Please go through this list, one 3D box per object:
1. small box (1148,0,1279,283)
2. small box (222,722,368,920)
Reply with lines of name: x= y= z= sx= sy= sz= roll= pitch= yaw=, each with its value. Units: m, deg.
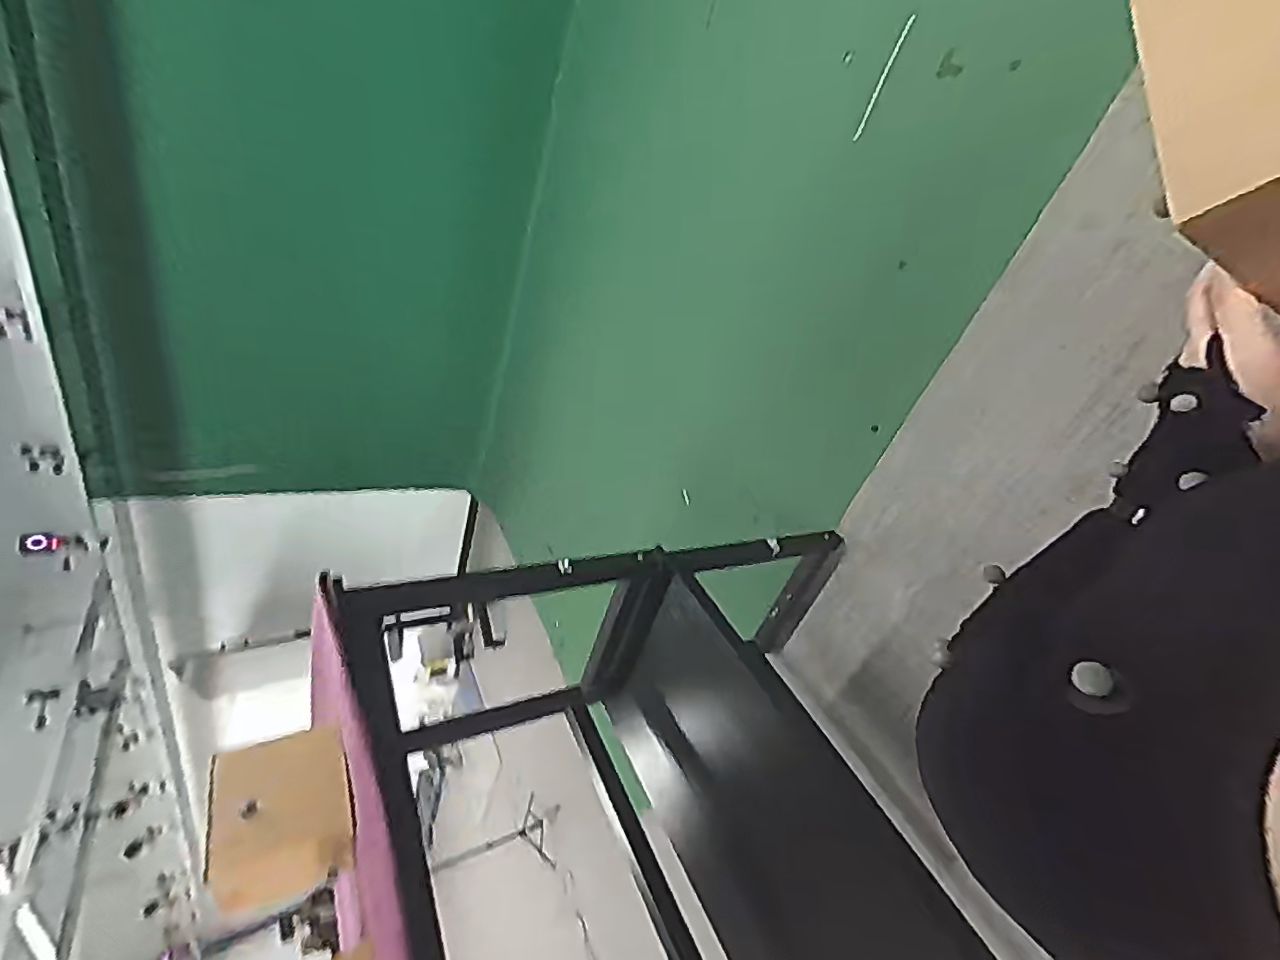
small box: x=0.406 y=-0.220 z=0.270 sx=0.168 sy=0.176 sz=0.179 roll=-21 pitch=58 yaw=61
small box: x=-0.517 y=0.507 z=0.824 sx=0.179 sy=0.176 sz=0.168 roll=52 pitch=135 yaw=41
